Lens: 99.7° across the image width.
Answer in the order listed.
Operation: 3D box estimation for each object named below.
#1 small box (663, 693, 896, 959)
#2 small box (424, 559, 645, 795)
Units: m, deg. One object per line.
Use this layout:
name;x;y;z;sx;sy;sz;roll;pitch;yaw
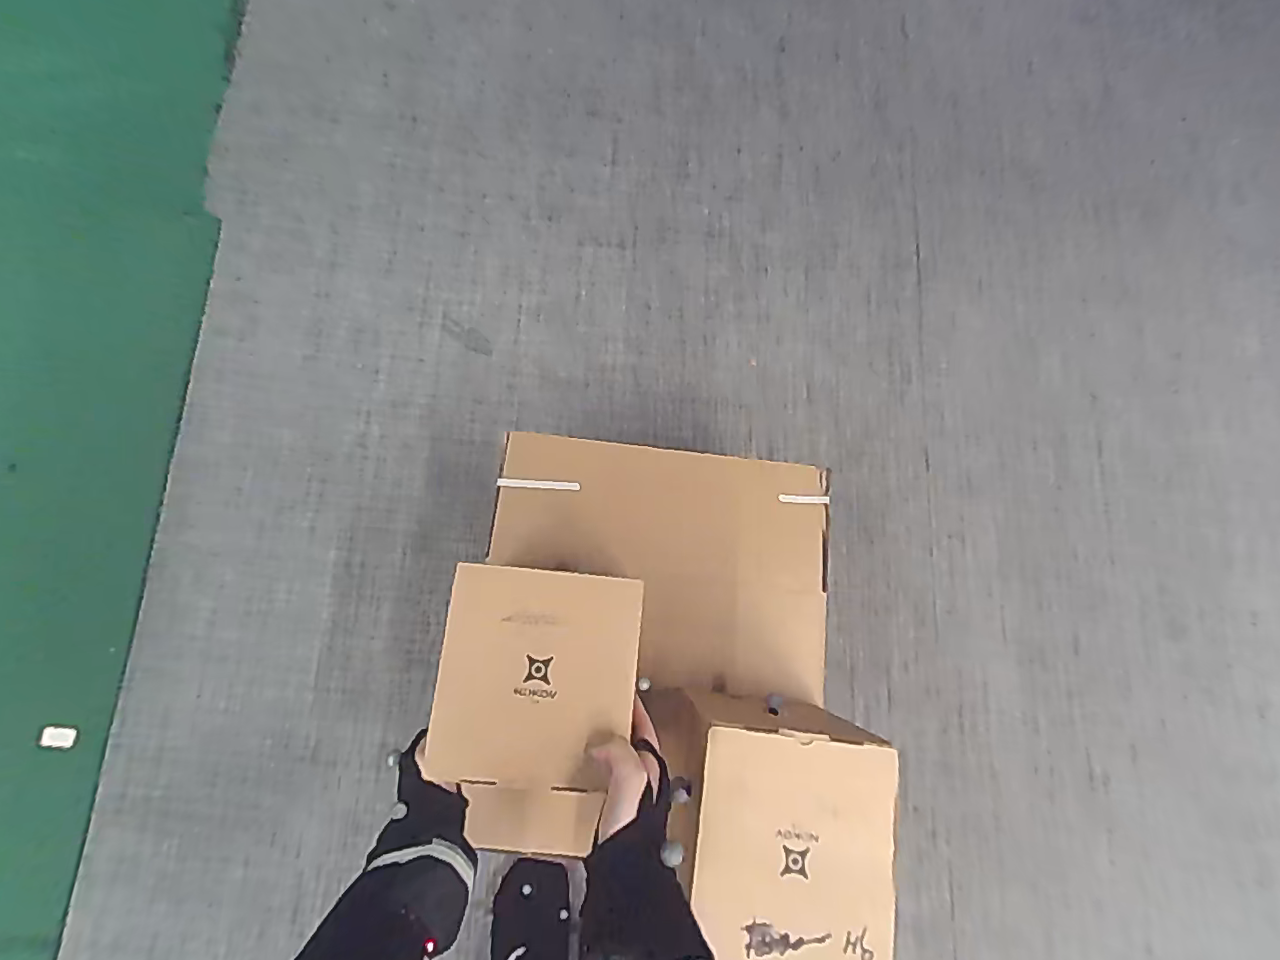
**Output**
small box;0.118;0.310;0.511;0.168;0.176;0.179;9;76;-2
small box;-0.088;0.180;0.531;0.168;0.176;0.179;7;76;-2
